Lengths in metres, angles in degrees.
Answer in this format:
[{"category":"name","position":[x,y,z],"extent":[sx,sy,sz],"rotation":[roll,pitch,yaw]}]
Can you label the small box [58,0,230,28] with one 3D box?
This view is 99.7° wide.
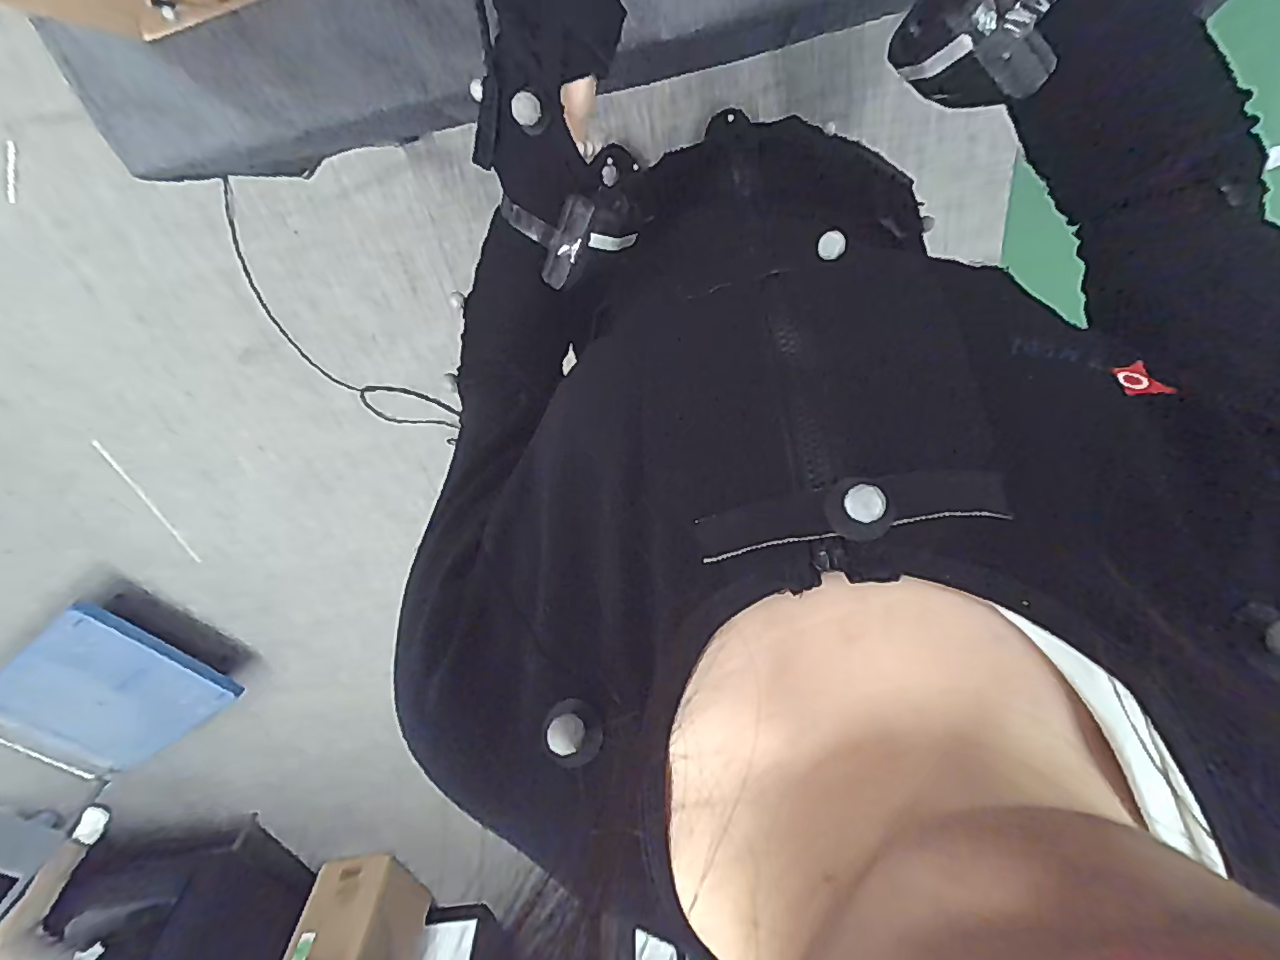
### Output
[{"category":"small box","position":[-0.418,-0.473,0.393],"extent":[0.168,0.176,0.179],"rotation":[-13,122,7]}]
